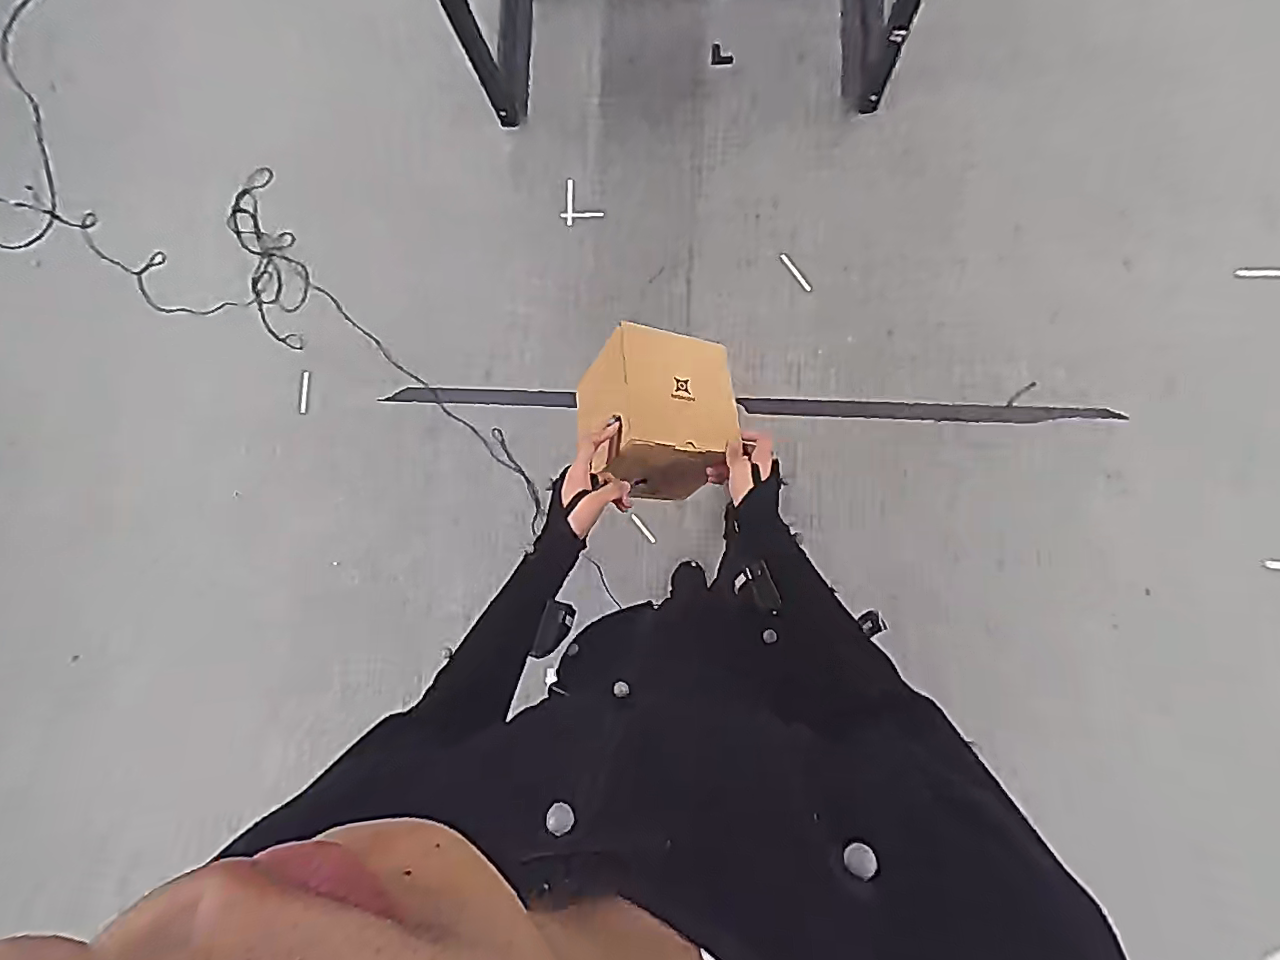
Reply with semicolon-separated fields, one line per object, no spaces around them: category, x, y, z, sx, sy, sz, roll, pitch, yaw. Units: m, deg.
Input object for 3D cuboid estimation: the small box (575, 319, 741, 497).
small box;0.014;-0.091;0.758;0.168;0.176;0.179;5;66;-26
